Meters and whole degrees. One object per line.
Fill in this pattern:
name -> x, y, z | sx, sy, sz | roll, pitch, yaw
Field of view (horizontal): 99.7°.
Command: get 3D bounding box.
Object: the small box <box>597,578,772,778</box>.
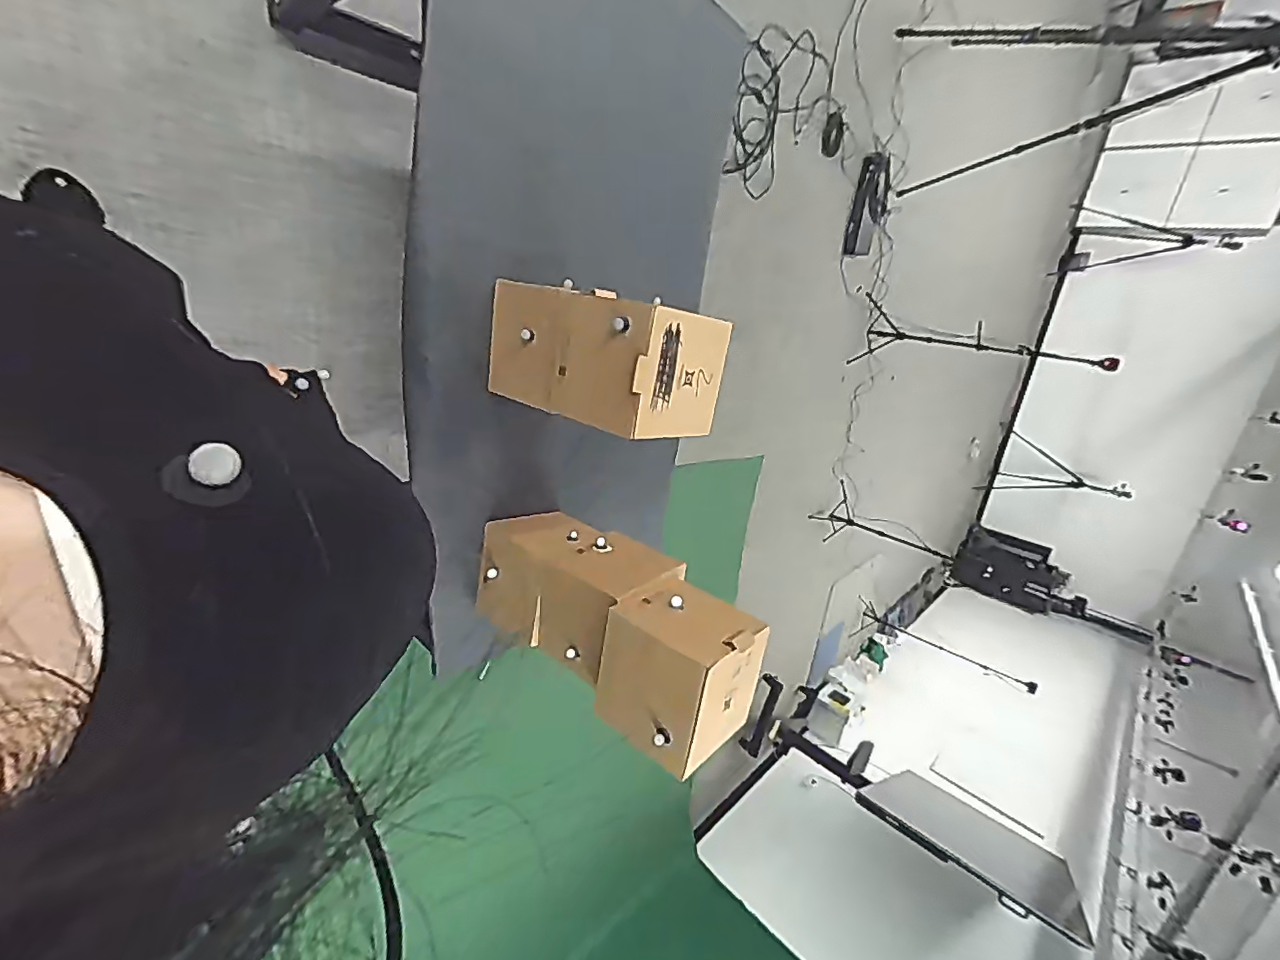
small box -> 0.058, 0.265, 0.766 | 0.168, 0.176, 0.179 | -10, 115, -50

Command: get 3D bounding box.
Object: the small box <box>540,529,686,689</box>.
small box -> -0.049, 0.201, 0.877 | 0.168, 0.176, 0.179 | -17, 118, -47

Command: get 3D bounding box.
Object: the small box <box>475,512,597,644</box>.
small box -> -0.170, 0.164, 0.979 | 0.179, 0.176, 0.168 | -5, 111, -49

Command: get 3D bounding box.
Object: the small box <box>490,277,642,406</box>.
small box -> -0.121, -0.218, 0.856 | 0.168, 0.176, 0.179 | -10, 114, -47
